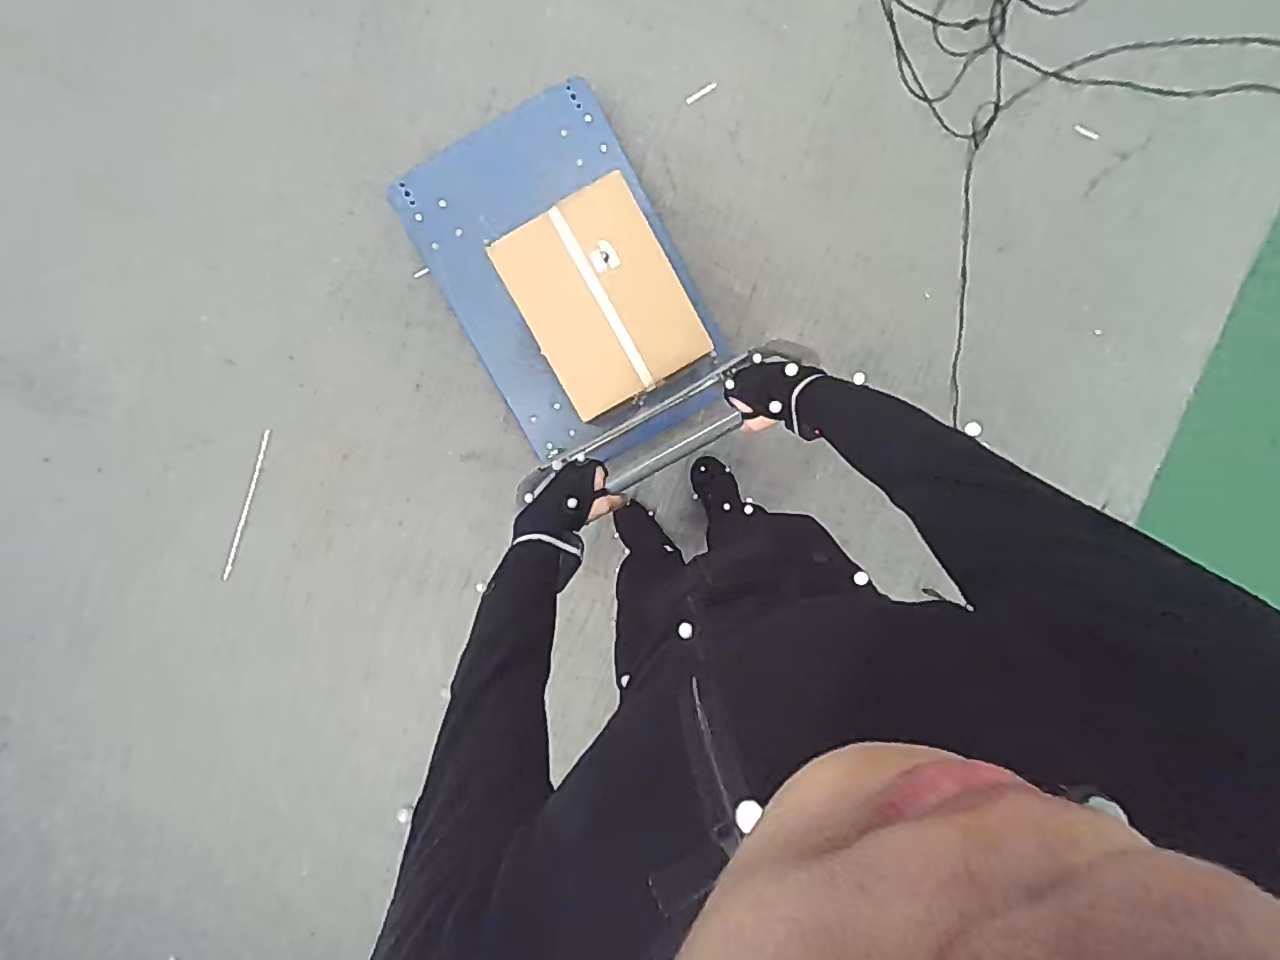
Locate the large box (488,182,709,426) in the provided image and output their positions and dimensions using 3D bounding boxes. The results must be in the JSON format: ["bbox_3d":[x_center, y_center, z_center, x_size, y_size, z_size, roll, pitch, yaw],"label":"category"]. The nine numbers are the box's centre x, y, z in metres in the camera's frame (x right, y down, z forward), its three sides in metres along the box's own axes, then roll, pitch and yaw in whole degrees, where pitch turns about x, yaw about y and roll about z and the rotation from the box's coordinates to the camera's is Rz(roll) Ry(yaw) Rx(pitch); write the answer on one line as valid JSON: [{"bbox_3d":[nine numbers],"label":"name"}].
[{"bbox_3d":[-0.082,-0.374,1.265,0.320,0.320,0.408,-29,94,1],"label":"large box"}]
